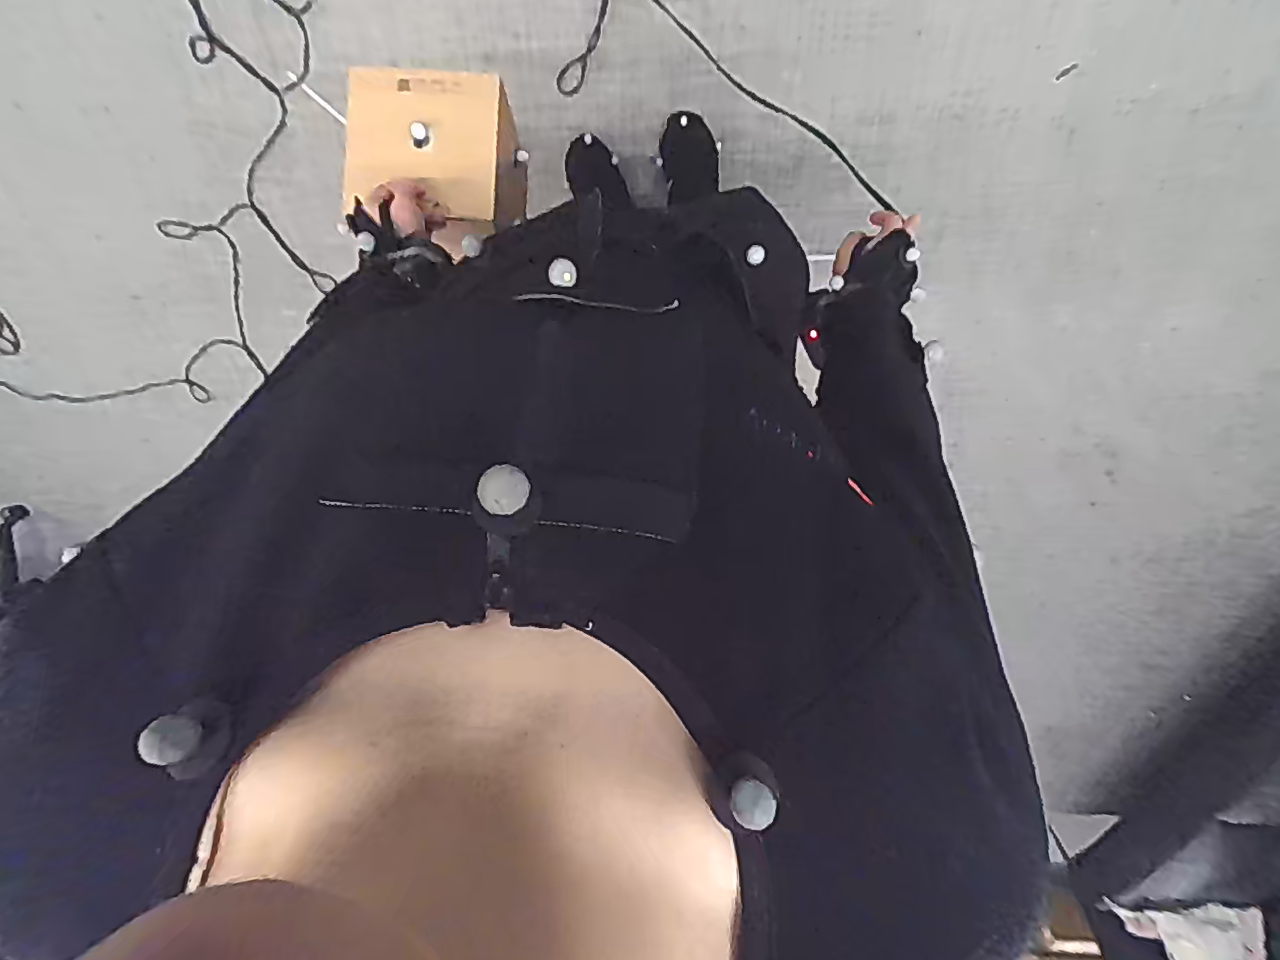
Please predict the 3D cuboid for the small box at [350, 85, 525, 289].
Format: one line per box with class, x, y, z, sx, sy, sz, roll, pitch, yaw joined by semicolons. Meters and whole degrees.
small box;-0.243;-0.356;0.679;0.168;0.179;0.176;0;88;-1
